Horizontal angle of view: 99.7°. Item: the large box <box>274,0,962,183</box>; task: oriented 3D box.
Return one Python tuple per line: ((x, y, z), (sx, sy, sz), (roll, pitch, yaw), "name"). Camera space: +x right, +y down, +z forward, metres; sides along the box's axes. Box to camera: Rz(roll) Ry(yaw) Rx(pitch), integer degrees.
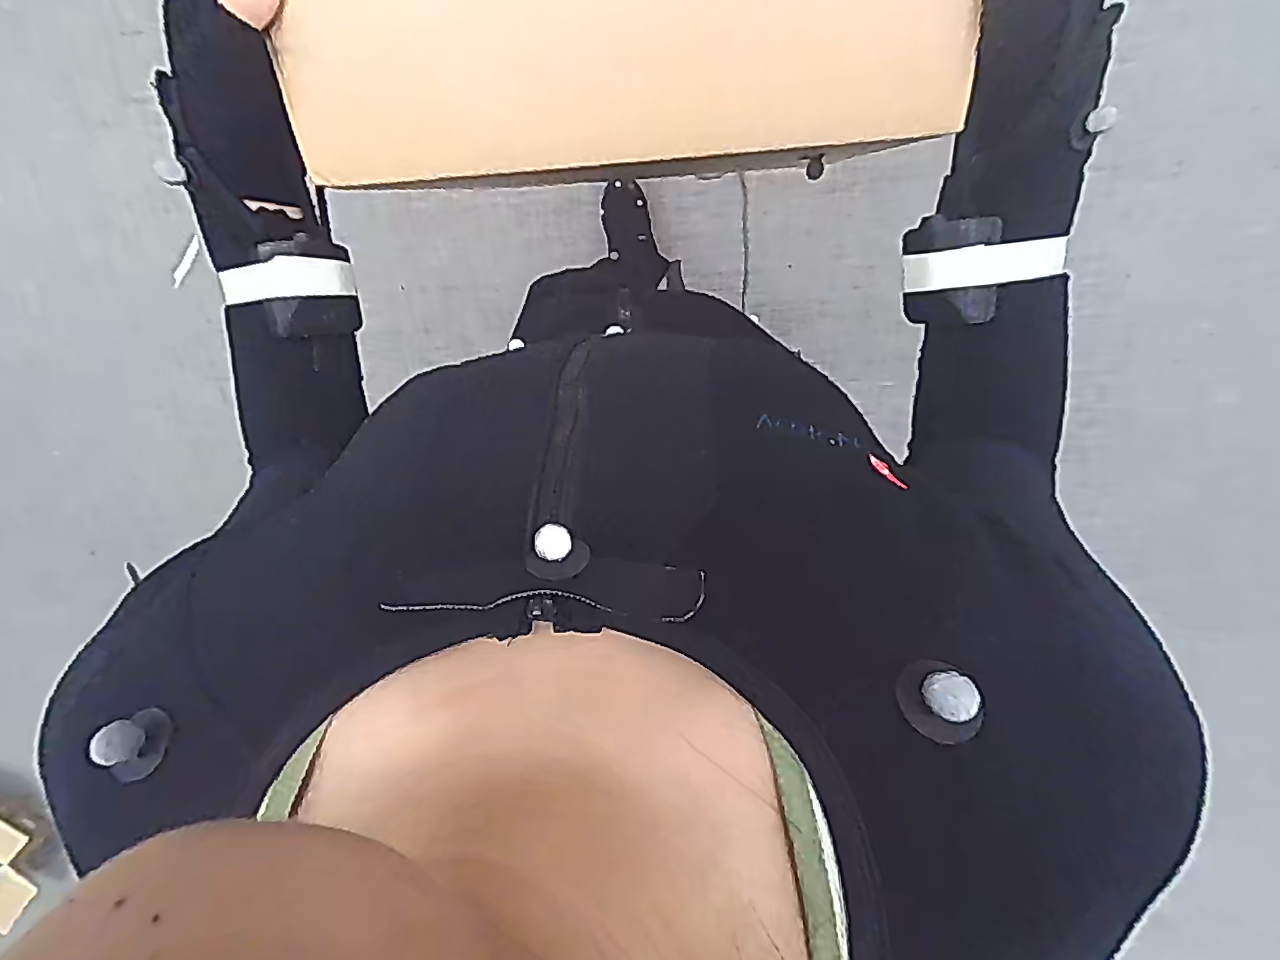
((-0.011, -0.415, 0.405), (0.408, 0.320, 0.320), (-1, 118, 6), "large box")
